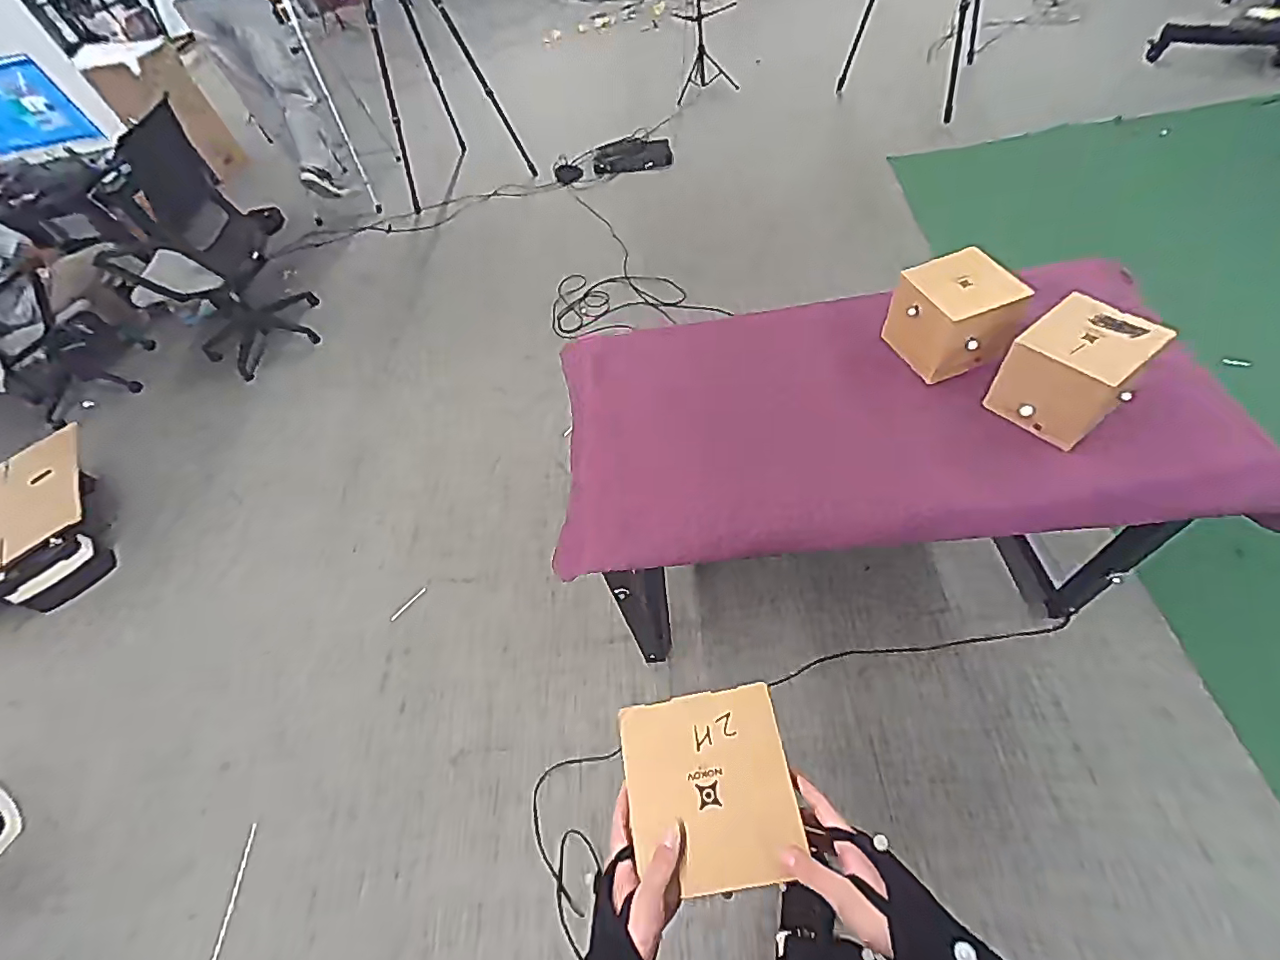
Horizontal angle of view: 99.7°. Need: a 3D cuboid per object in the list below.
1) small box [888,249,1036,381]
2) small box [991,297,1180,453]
[{"bbox_3d":[0.630,-0.321,1.083,0.168,0.176,0.179,-19,54,-2],"label":"small box"},{"bbox_3d":[0.768,-0.183,0.956,0.179,0.176,0.168,-35,56,-13],"label":"small box"}]
